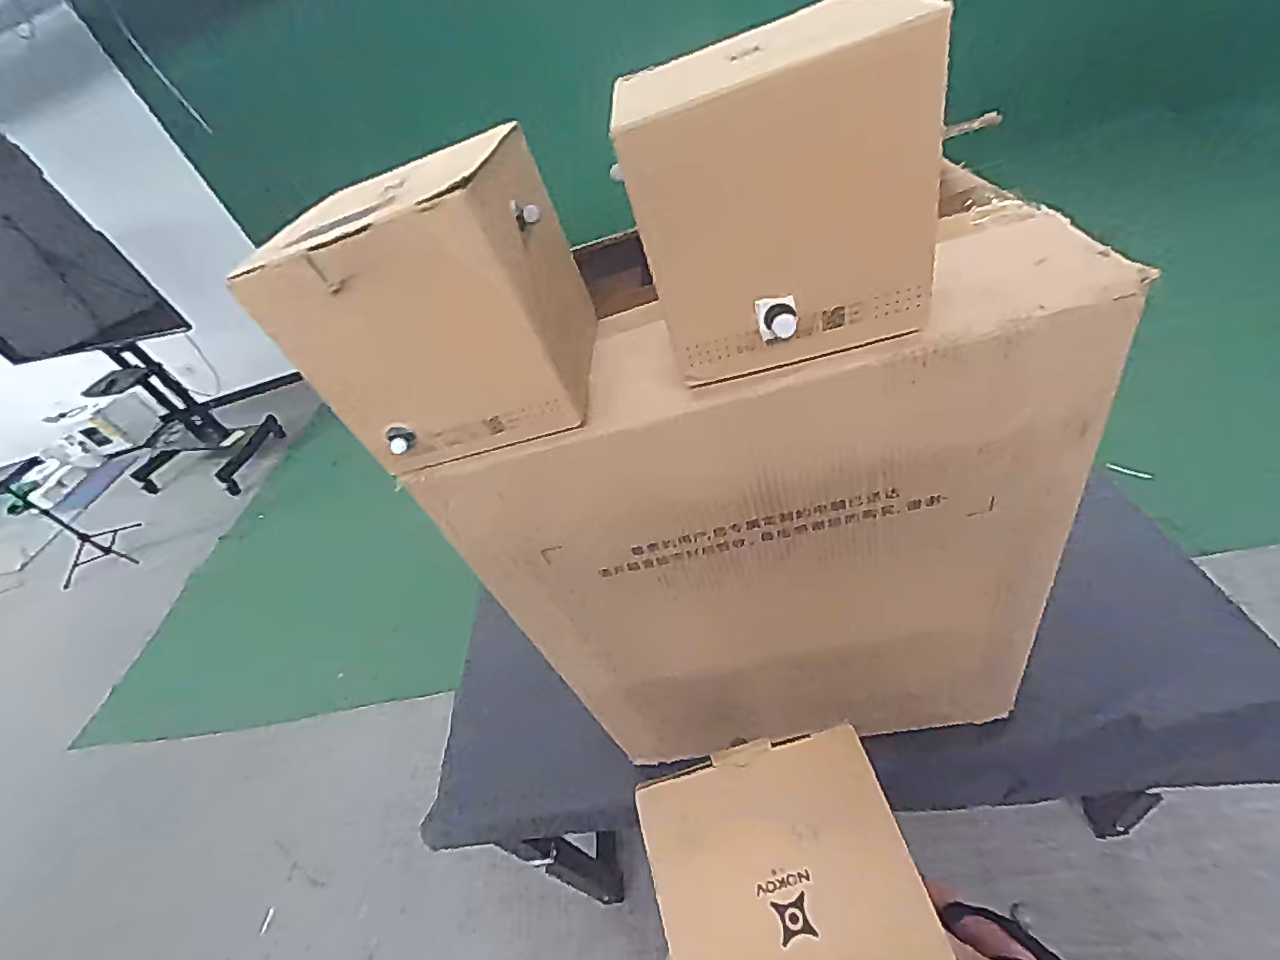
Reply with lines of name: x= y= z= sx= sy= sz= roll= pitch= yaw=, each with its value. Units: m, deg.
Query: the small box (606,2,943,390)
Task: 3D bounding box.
small box: x=0.083 y=-0.190 z=0.374 sx=0.168 sy=0.176 sz=0.179 roll=-14 pitch=43 yaw=11

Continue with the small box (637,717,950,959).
small box: x=0.108 y=0.303 z=0.413 sx=0.168 sy=0.176 sz=0.179 roll=-18 pitch=58 yaw=3

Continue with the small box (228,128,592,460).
small box: x=-0.146 y=-0.133 z=0.419 sx=0.168 sy=0.176 sz=0.179 roll=-13 pitch=41 yaw=13
